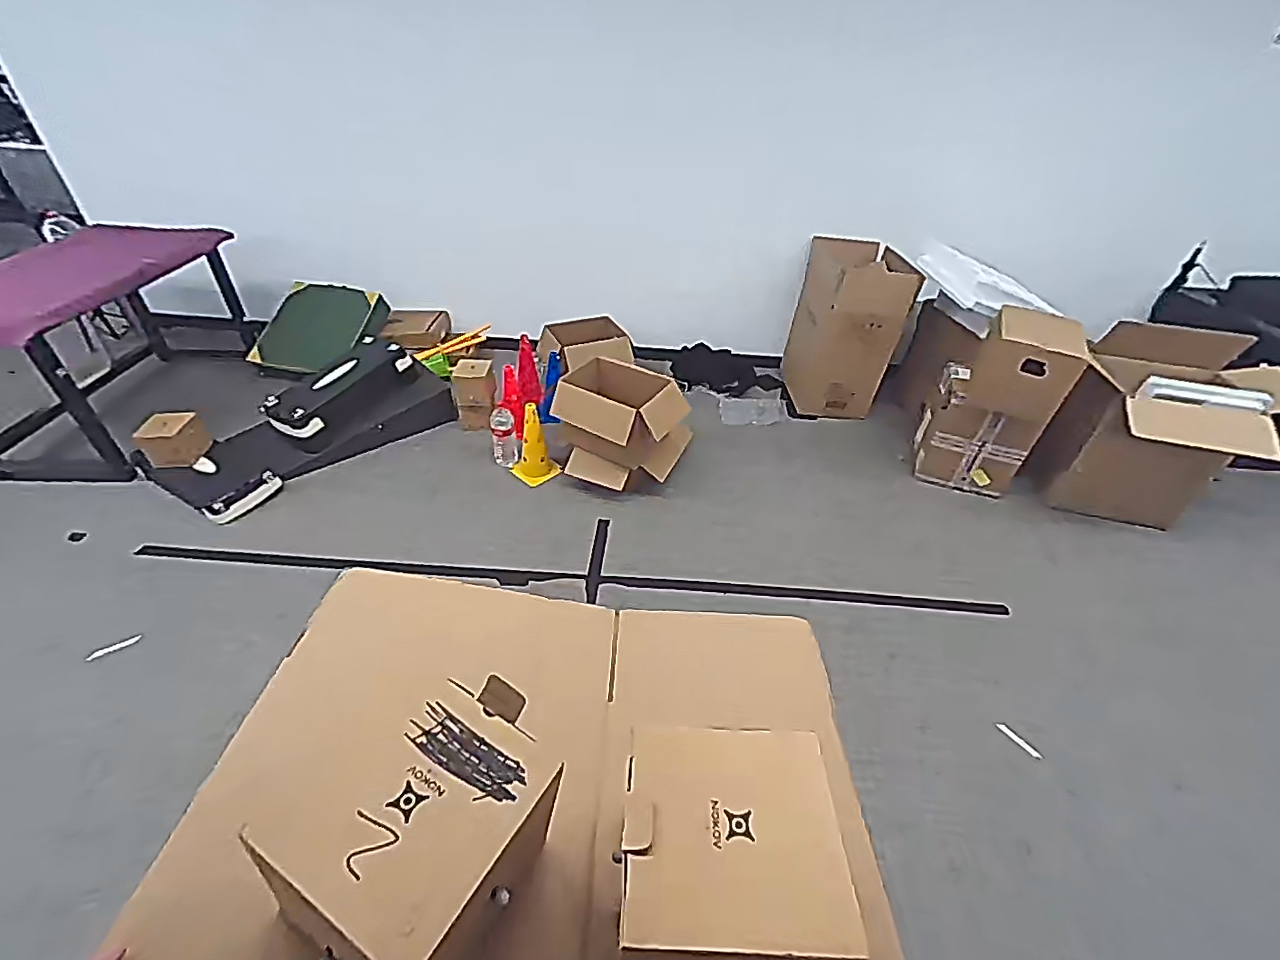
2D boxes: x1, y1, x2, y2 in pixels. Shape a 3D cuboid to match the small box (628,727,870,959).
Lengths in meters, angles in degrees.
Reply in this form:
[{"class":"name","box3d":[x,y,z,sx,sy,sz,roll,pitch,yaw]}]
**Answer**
[{"class":"small box","box3d":[0.080,0.353,0.498,0.179,0.176,0.168,1,36,1]}]
